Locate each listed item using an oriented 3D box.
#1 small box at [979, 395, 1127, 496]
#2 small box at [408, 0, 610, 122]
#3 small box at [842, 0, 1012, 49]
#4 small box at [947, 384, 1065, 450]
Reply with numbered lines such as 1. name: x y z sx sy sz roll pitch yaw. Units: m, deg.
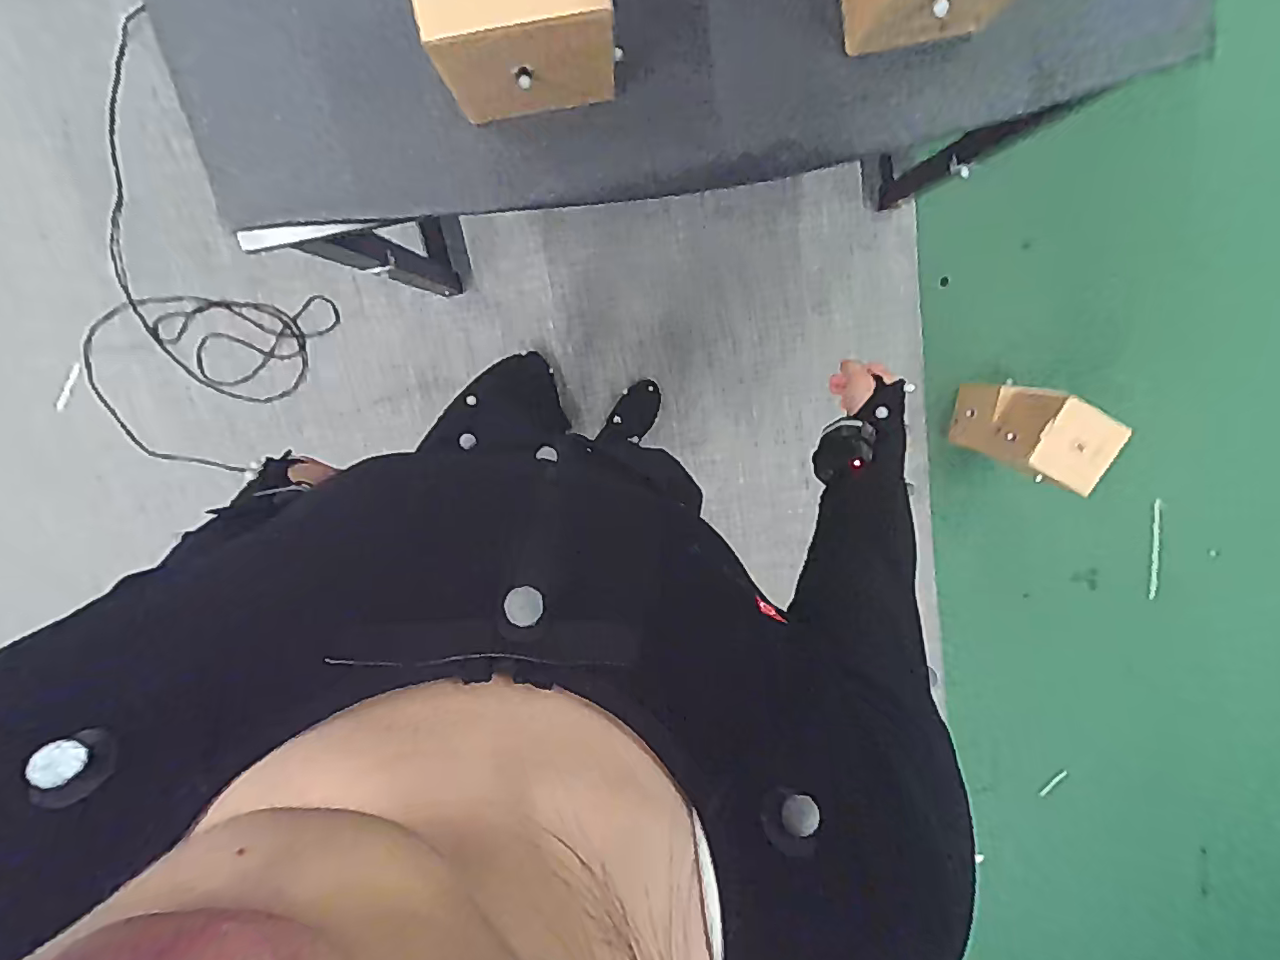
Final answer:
1. small box: 0.945 -0.089 1.257 0.179 0.176 0.168 26 102 -8
2. small box: -0.128 -0.492 0.540 0.179 0.176 0.168 -10 102 1
3. small box: 0.310 -0.572 0.538 0.168 0.176 0.179 -11 102 0
4. small box: 0.940 -0.157 1.408 0.179 0.176 0.168 6 103 -4
